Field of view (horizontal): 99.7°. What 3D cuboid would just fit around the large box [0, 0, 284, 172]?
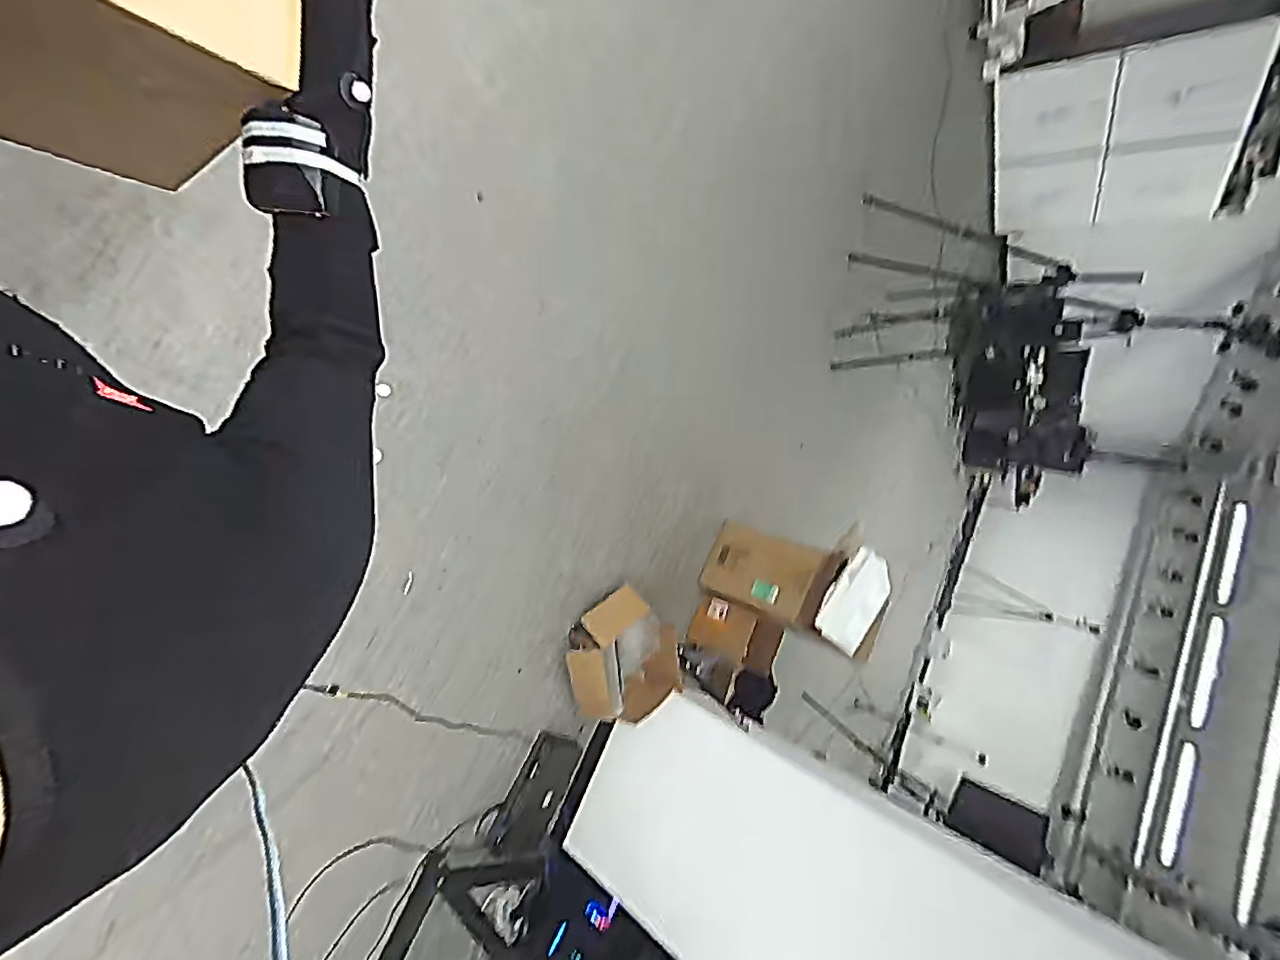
[{"bbox_3d":[-0.484,-0.438,0.296,0.408,0.320,0.320,-4,99,-53],"label":"large box"}]
